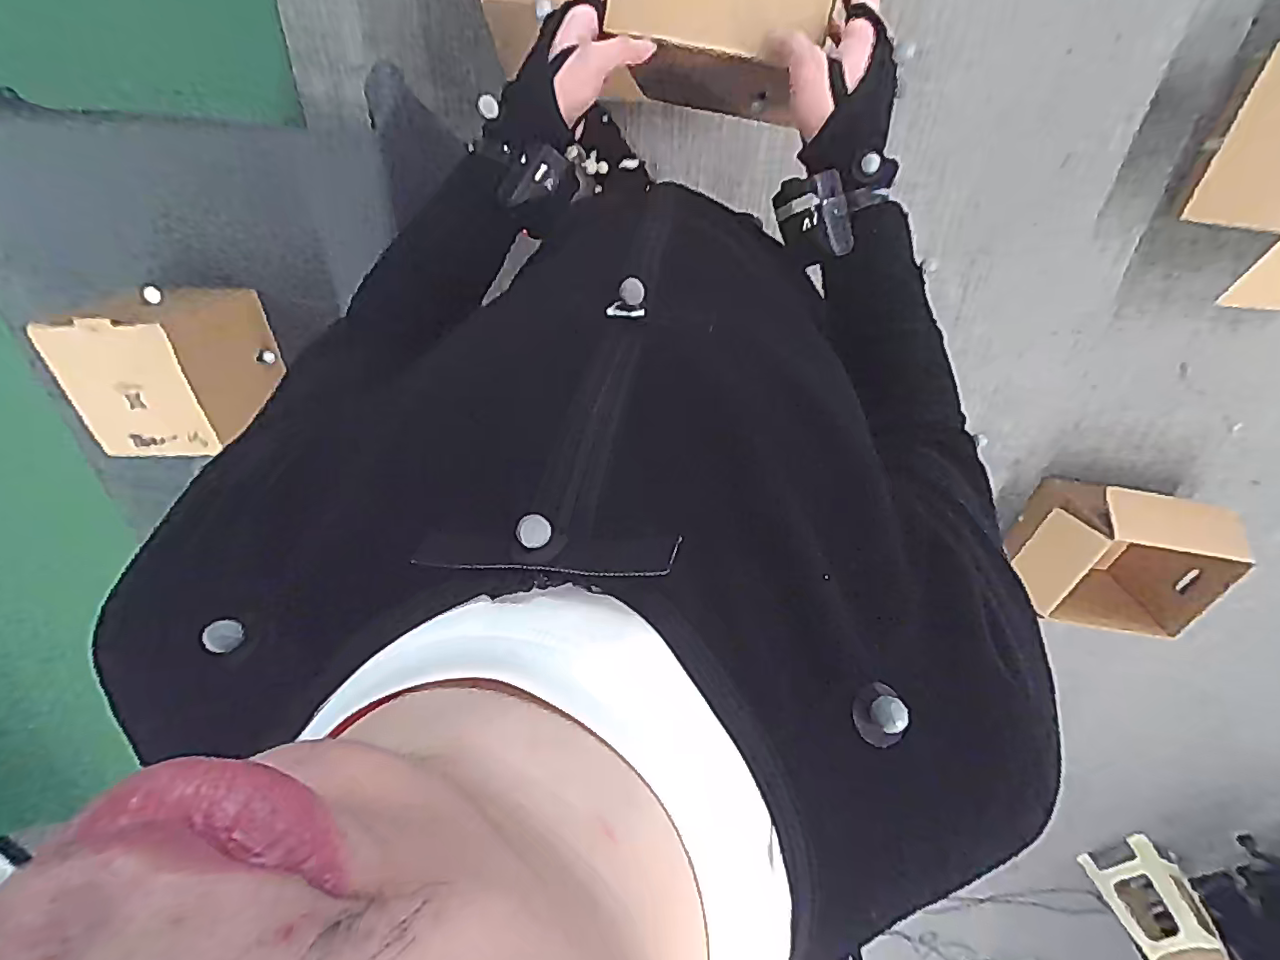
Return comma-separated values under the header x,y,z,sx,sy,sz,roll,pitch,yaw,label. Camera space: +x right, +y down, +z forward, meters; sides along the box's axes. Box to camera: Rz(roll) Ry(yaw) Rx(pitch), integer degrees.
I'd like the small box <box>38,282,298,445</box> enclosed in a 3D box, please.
x,y,z,sx,sy,sz,roll,pitch,yaw,label
-0.615,-0.165,0.737,0.168,0.176,0.179,-2,123,3,small box

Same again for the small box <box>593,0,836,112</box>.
x,y,z,sx,sy,sz,roll,pitch,yaw,label
0.080,-0.431,0.446,0.179,0.176,0.168,16,111,8,small box
